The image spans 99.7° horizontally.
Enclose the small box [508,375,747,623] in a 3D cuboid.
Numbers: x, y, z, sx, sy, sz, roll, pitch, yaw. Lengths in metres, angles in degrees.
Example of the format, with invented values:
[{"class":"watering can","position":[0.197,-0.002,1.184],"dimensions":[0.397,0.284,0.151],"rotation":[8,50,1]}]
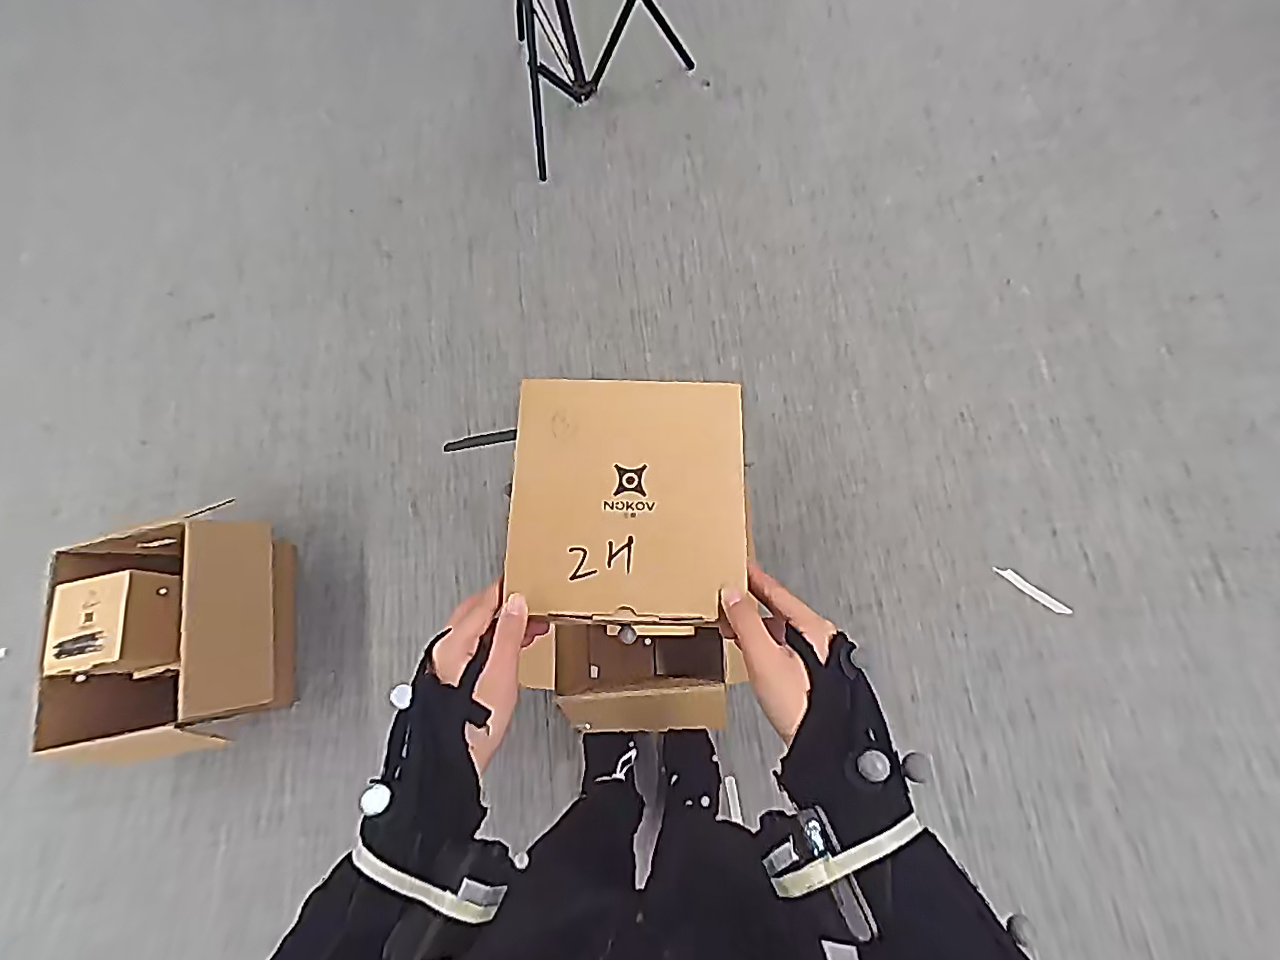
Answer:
[{"class":"small box","position":[-0.007,0.028,0.466],"dimensions":[0.168,0.176,0.179],"rotation":[1,74,0]}]
